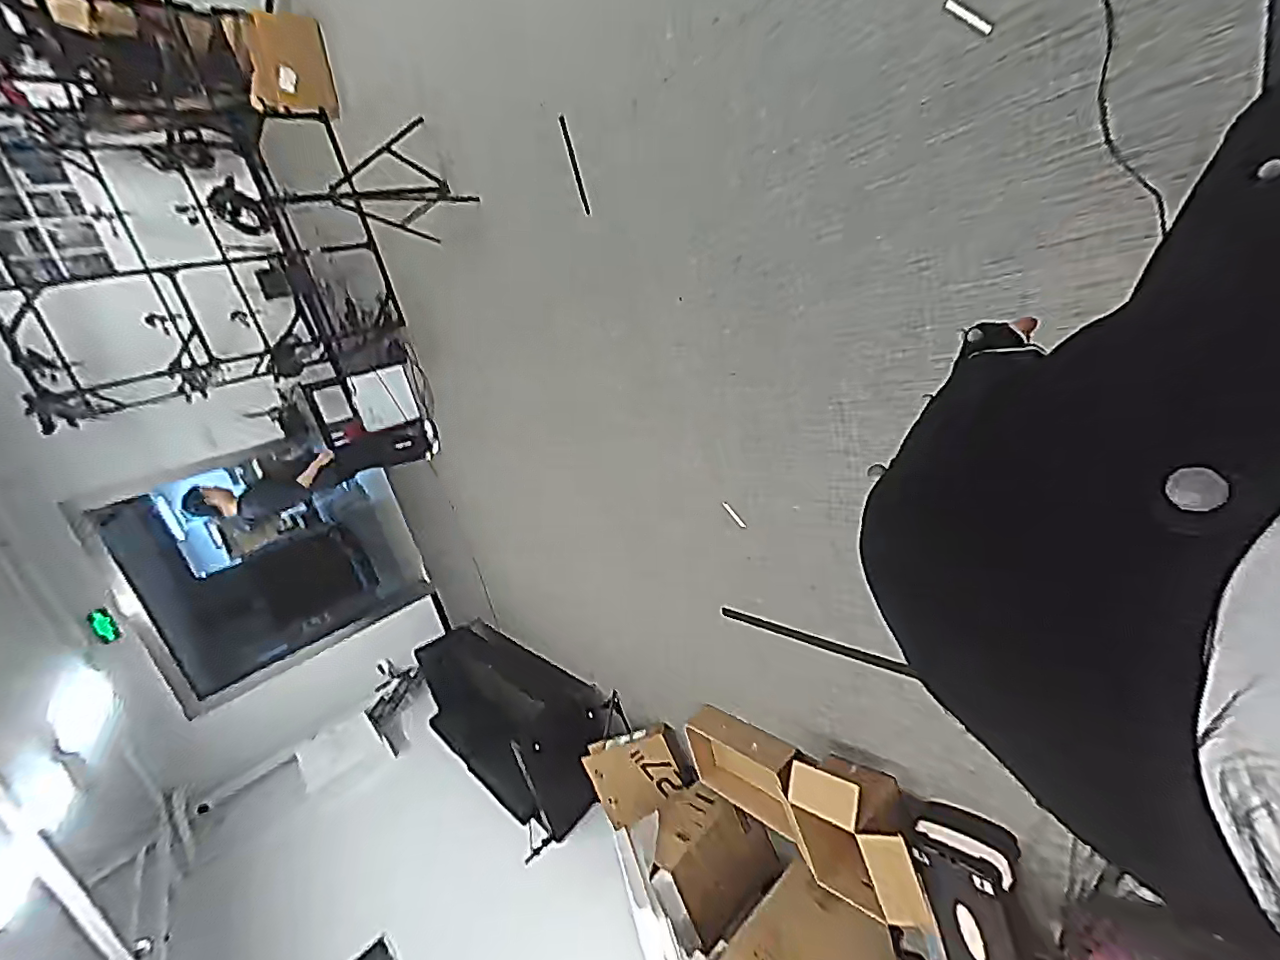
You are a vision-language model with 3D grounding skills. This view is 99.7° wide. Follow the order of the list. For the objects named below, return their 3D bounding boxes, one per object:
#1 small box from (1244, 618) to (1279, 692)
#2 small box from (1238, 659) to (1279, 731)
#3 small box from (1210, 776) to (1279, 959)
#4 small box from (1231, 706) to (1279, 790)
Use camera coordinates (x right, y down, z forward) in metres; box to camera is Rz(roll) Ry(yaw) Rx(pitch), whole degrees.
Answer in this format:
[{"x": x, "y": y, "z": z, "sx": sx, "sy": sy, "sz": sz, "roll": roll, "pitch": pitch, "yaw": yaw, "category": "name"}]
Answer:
[{"x": 1.326, "y": 0.395, "z": 1.057, "sx": 0.179, "sy": 0.176, "sz": 0.168, "roll": 11, "pitch": 120, "yaw": 49, "category": "small box"}, {"x": 1.203, "y": 0.462, "z": 0.970, "sx": 0.168, "sy": 0.176, "sz": 0.179, "roll": 10, "pitch": 119, "yaw": 49, "category": "small box"}, {"x": 0.959, "y": 0.580, "z": 0.787, "sx": 0.168, "sy": 0.176, "sz": 0.179, "roll": 4, "pitch": 115, "yaw": 50, "category": "small box"}, {"x": 1.080, "y": 0.510, "z": 0.874, "sx": 0.168, "sy": 0.176, "sz": 0.179, "roll": 9, "pitch": 118, "yaw": 48, "category": "small box"}]
